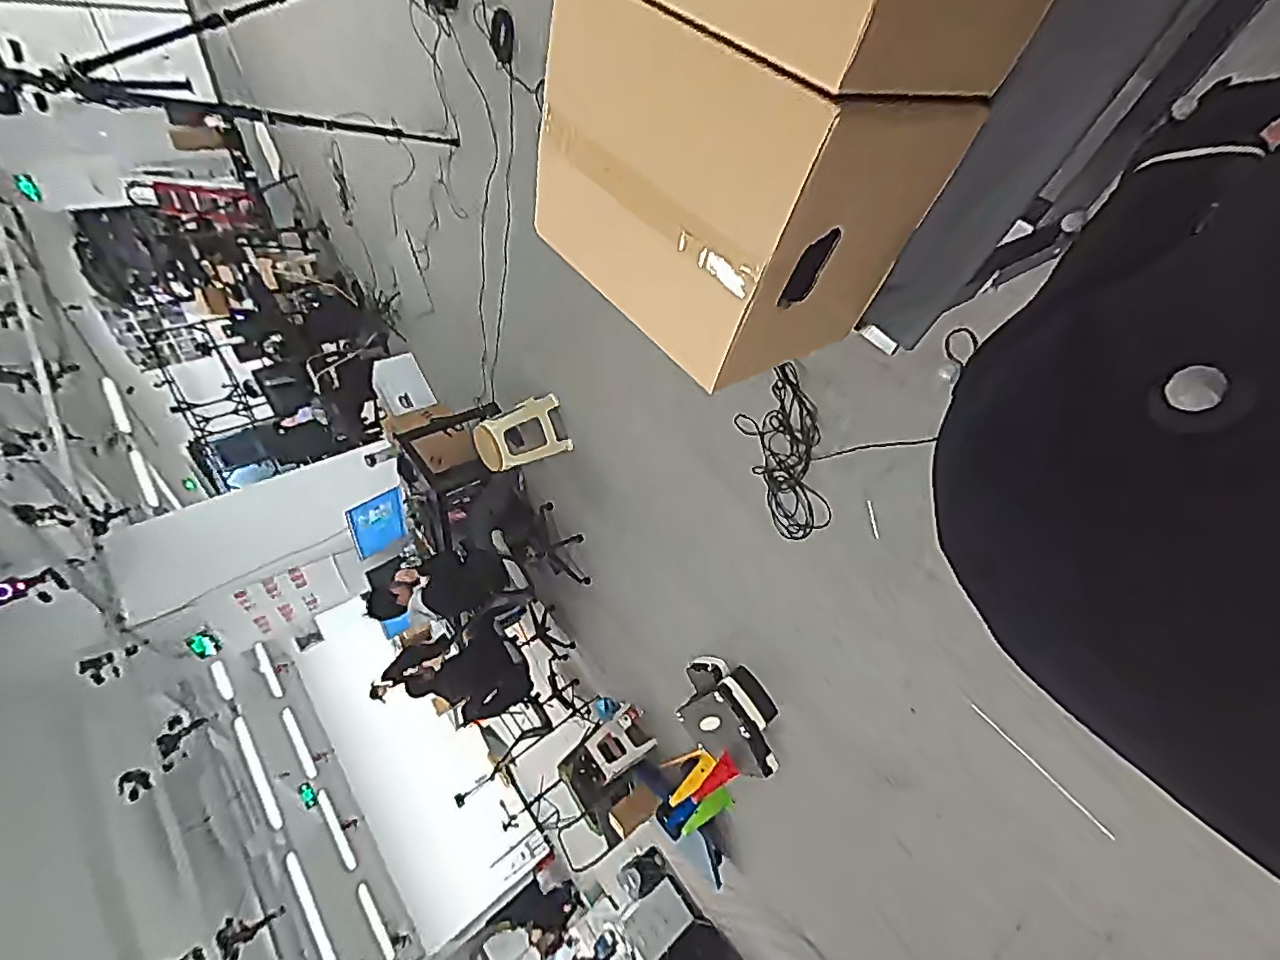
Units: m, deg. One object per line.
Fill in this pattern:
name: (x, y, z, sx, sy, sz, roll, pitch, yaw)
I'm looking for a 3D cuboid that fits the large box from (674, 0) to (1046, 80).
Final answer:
large box: (0.186, -0.603, 0.474, 0.408, 0.320, 0.320, 47, 145, 23)
